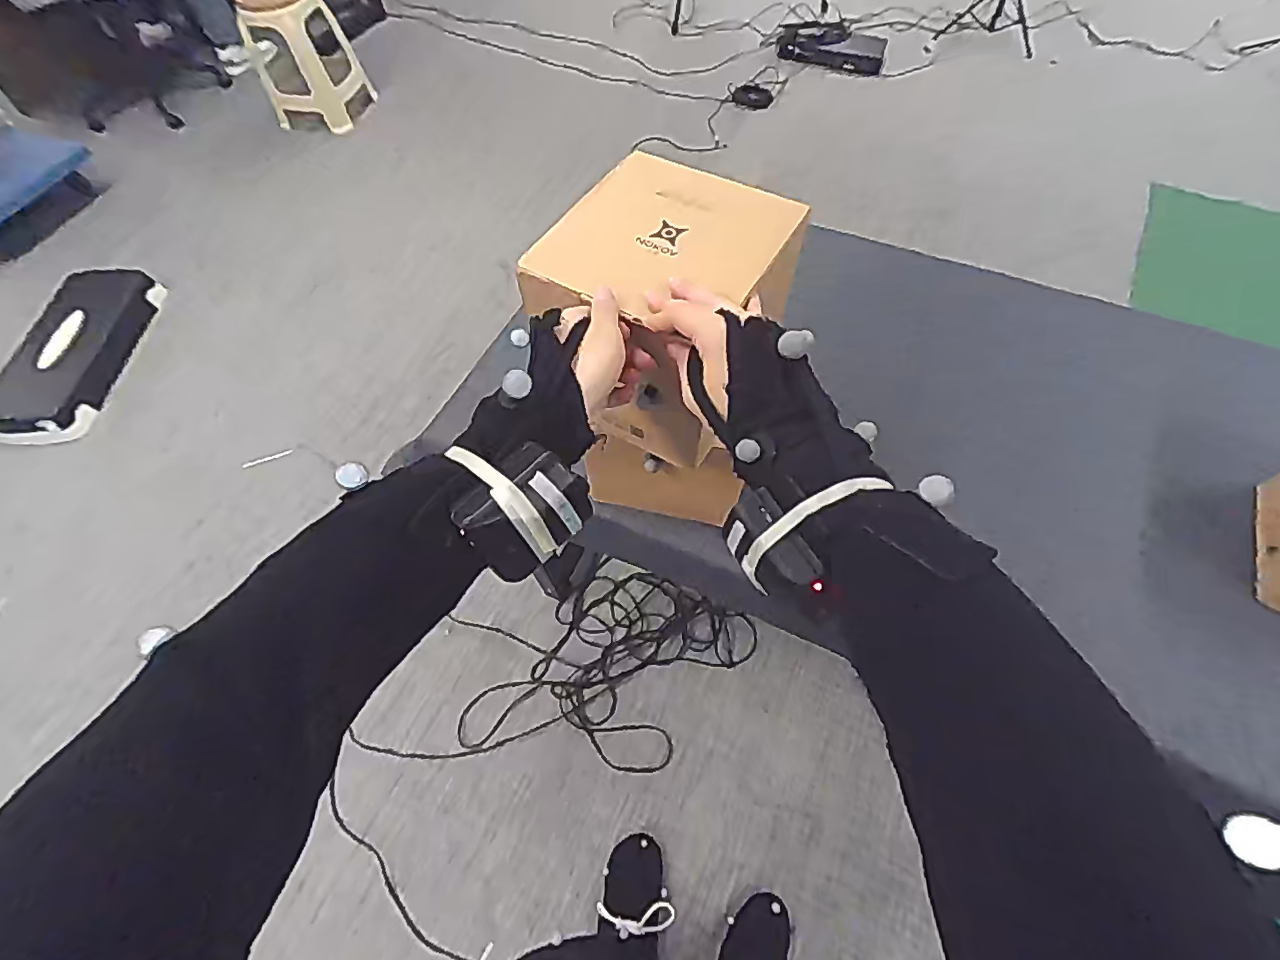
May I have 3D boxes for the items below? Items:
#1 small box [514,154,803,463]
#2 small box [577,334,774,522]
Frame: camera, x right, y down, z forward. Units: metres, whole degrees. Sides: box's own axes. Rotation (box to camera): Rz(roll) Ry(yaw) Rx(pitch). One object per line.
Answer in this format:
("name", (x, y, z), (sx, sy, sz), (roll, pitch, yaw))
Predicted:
("small box", (0.020, -0.145, 0.483), (0.168, 0.176, 0.179), (27, 64, 15))
("small box", (0.043, -0.067, 0.625), (0.179, 0.176, 0.168), (11, 61, 9))
